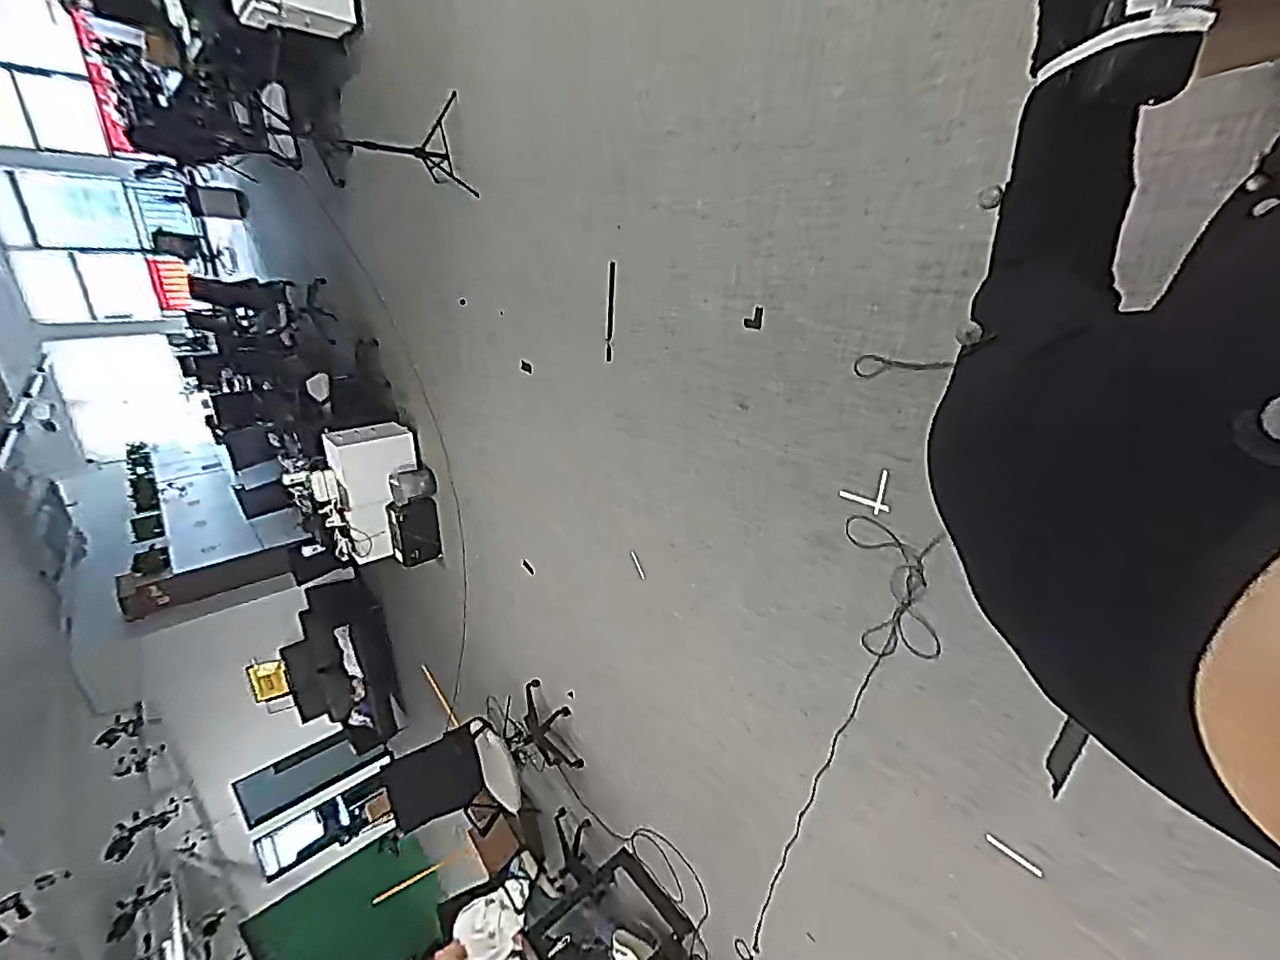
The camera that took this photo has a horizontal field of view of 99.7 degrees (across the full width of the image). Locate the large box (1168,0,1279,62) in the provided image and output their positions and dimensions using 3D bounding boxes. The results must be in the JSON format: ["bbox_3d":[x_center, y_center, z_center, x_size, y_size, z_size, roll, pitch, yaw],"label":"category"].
[{"bbox_3d":[0.566,-0.482,0.264,0.408,0.320,0.320,13,120,45],"label":"large box"}]
